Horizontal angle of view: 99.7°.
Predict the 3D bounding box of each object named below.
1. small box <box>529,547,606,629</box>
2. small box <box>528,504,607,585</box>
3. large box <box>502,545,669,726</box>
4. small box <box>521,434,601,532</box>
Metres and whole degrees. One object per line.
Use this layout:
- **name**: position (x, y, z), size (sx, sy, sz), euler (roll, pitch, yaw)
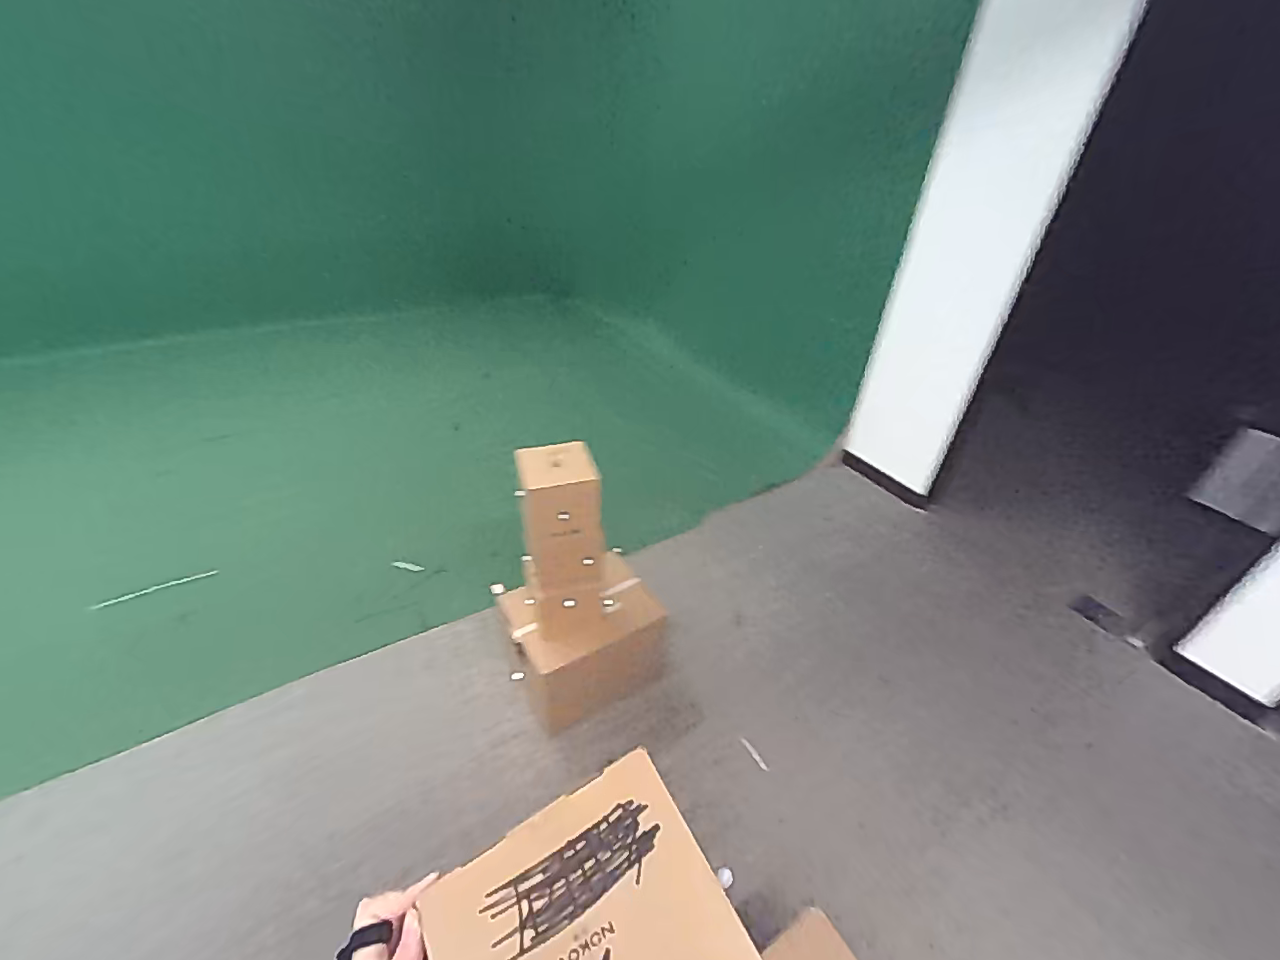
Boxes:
- **small box**: position (-0.203, 0.284, 1.502), size (0.179, 0.176, 0.168), euler (-12, 39, -19)
- **small box**: position (-0.190, 0.148, 1.413), size (0.179, 0.176, 0.168), euler (-10, 38, -16)
- **large box**: position (-0.169, 0.466, 1.667), size (0.408, 0.320, 0.320), euler (-18, 42, -28)
- **small box**: position (-0.191, 0.012, 1.320), size (0.168, 0.176, 0.179), euler (-9, 37, -16)
